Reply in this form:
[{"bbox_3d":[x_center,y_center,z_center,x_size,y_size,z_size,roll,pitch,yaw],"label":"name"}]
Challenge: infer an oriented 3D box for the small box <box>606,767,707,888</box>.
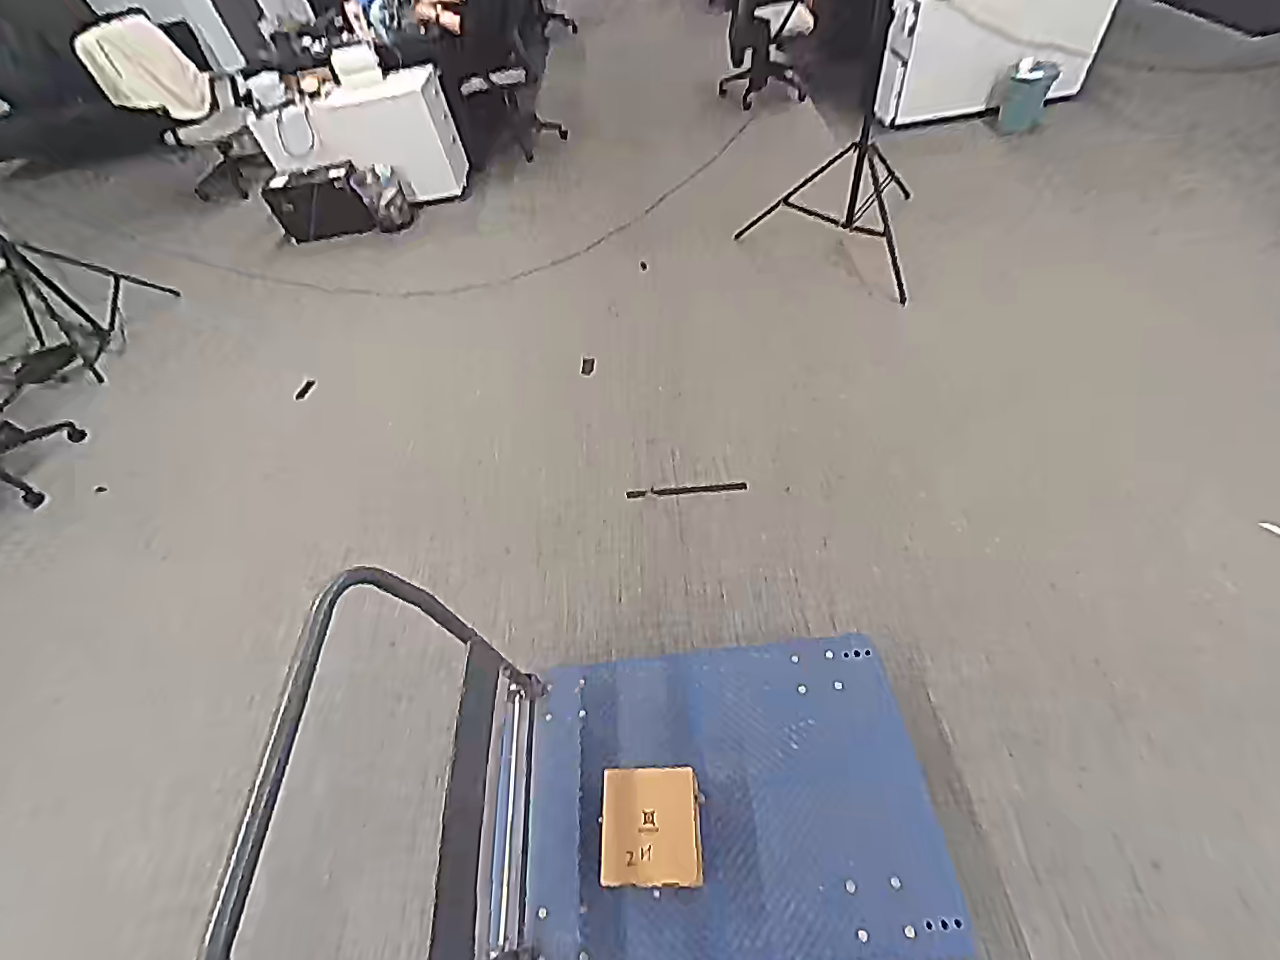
[{"bbox_3d":[0.035,0.649,1.007,0.168,0.176,0.179,-5,52,7],"label":"small box"}]
